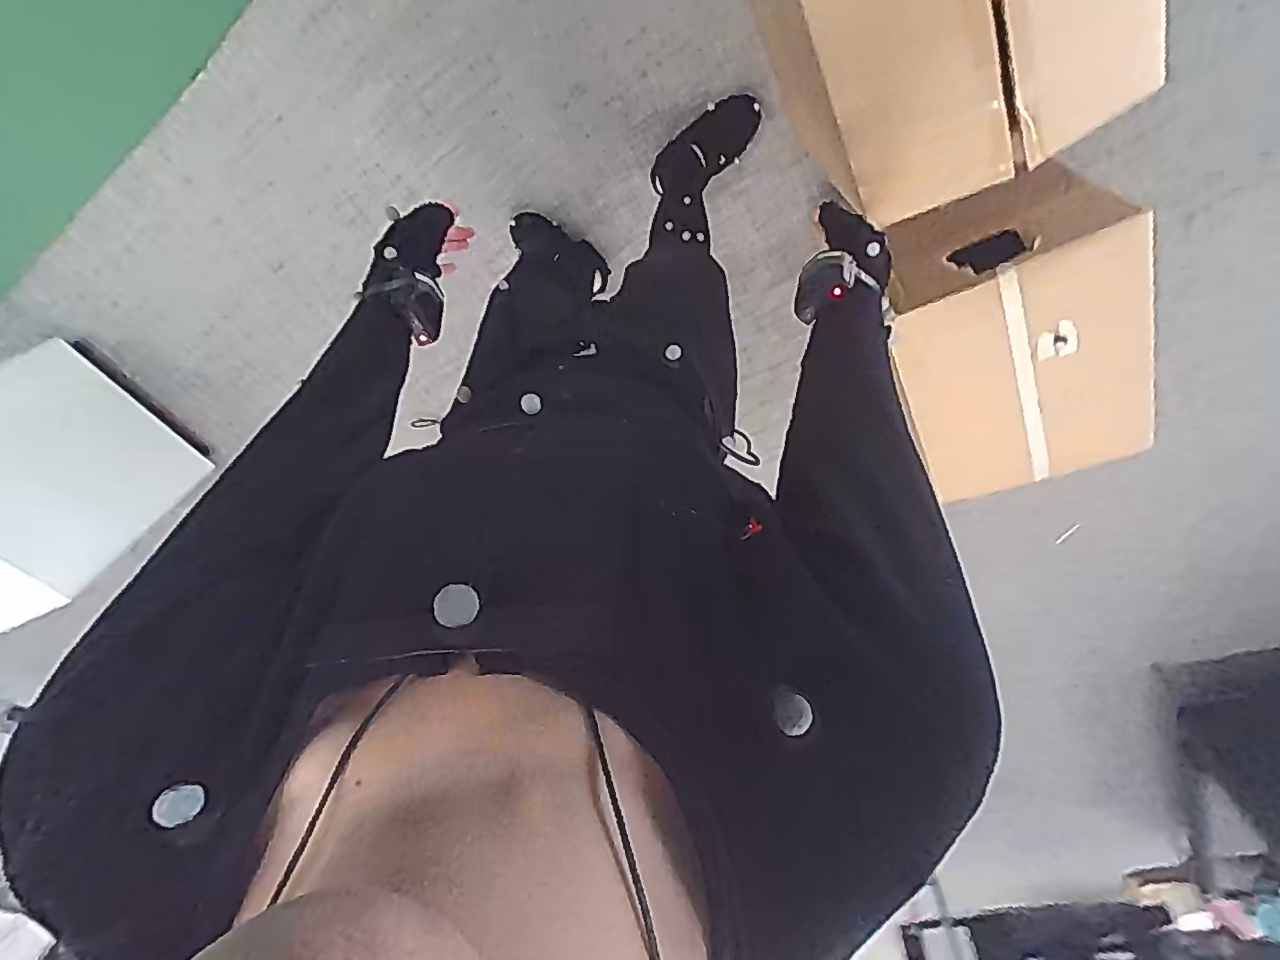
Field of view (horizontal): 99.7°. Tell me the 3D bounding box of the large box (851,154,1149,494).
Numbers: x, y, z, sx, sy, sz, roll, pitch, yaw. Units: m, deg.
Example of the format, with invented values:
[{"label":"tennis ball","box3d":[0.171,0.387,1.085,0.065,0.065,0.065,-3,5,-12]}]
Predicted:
[{"label":"large box","box3d":[0.590,-0.249,0.922,0.320,0.320,0.408,-19,125,25]}]
